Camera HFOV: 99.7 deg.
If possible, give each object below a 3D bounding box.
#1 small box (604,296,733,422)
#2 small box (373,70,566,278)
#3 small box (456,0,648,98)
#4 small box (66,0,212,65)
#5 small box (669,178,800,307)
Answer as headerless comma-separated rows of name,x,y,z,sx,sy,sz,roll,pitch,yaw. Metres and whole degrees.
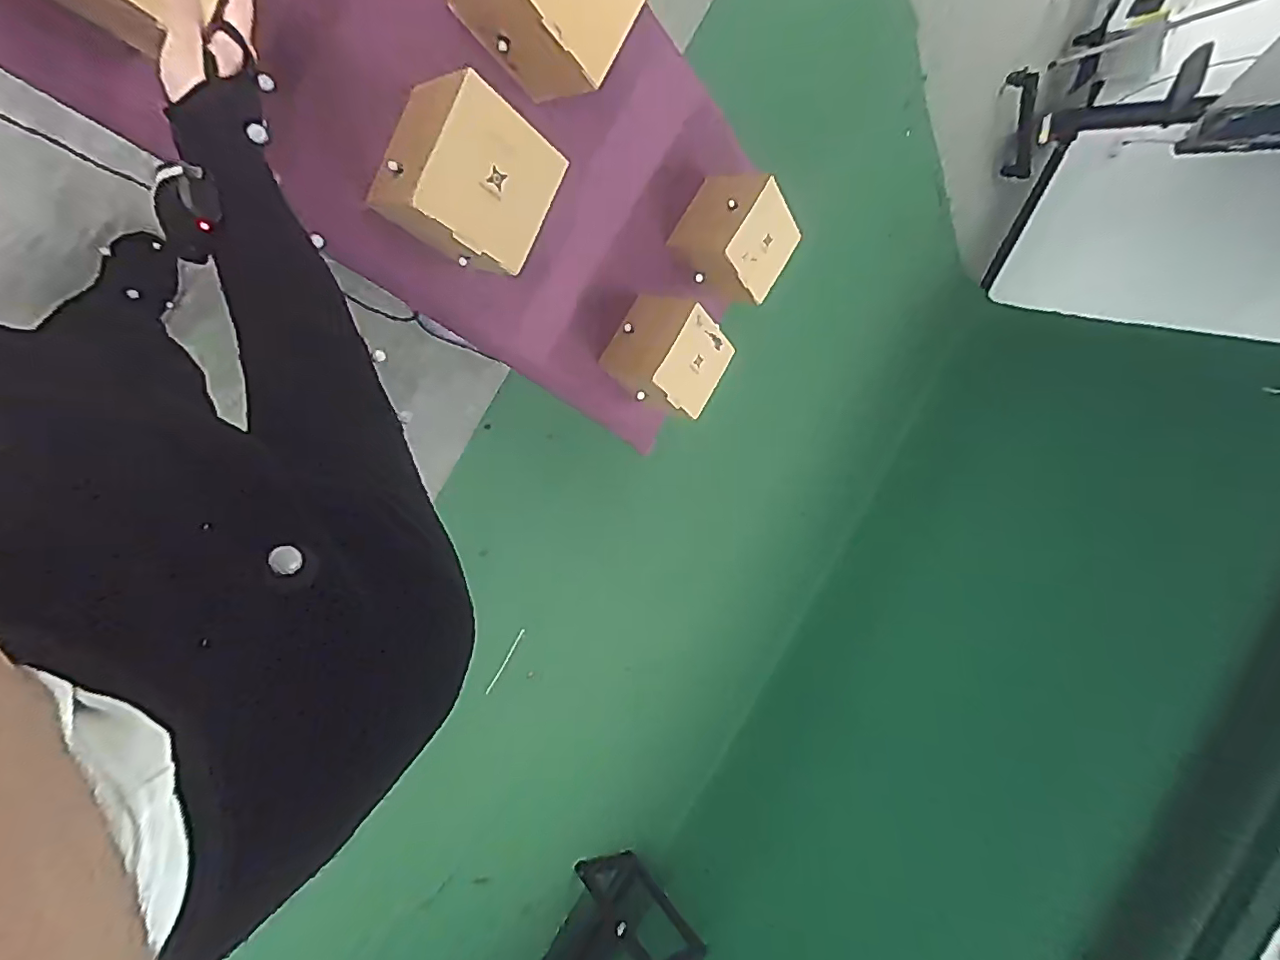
small box,0.051,-0.249,1.105,0.168,0.176,0.179,35,85,-47
small box,-0.239,-0.406,0.742,0.168,0.176,0.179,23,94,-48
small box,-0.116,-0.656,0.723,0.168,0.176,0.179,26,94,-48
small box,-0.464,-0.507,0.467,0.168,0.176,0.179,18,97,-48
small box,0.191,-0.487,1.109,0.168,0.176,0.179,35,87,-47
